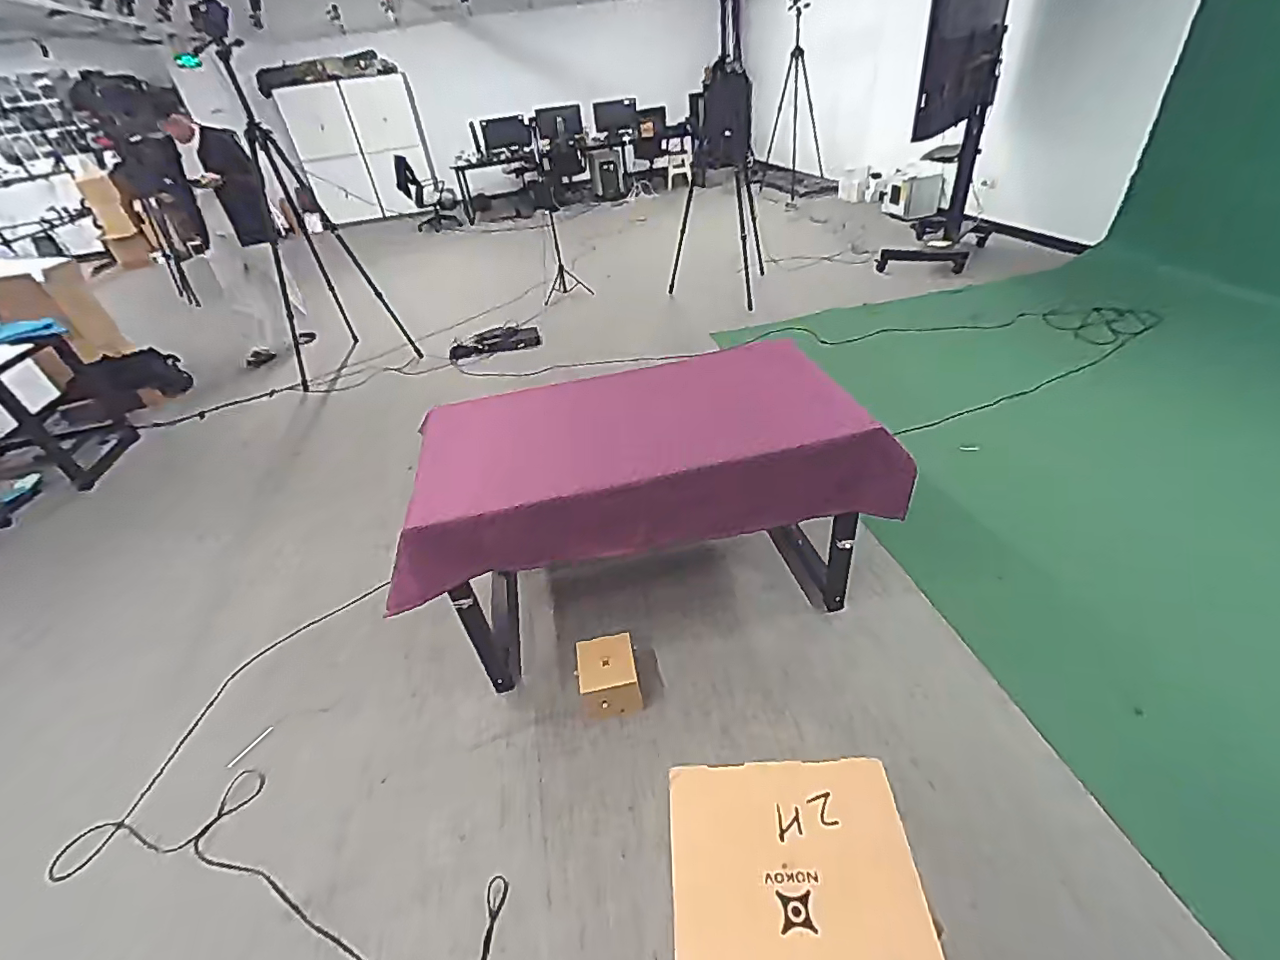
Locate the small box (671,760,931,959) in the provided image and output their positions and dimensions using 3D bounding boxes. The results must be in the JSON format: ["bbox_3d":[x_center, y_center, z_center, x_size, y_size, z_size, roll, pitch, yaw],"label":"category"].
[{"bbox_3d":[0.114,0.345,0.423,0.168,0.176,0.179,-5,40,6],"label":"small box"}]
